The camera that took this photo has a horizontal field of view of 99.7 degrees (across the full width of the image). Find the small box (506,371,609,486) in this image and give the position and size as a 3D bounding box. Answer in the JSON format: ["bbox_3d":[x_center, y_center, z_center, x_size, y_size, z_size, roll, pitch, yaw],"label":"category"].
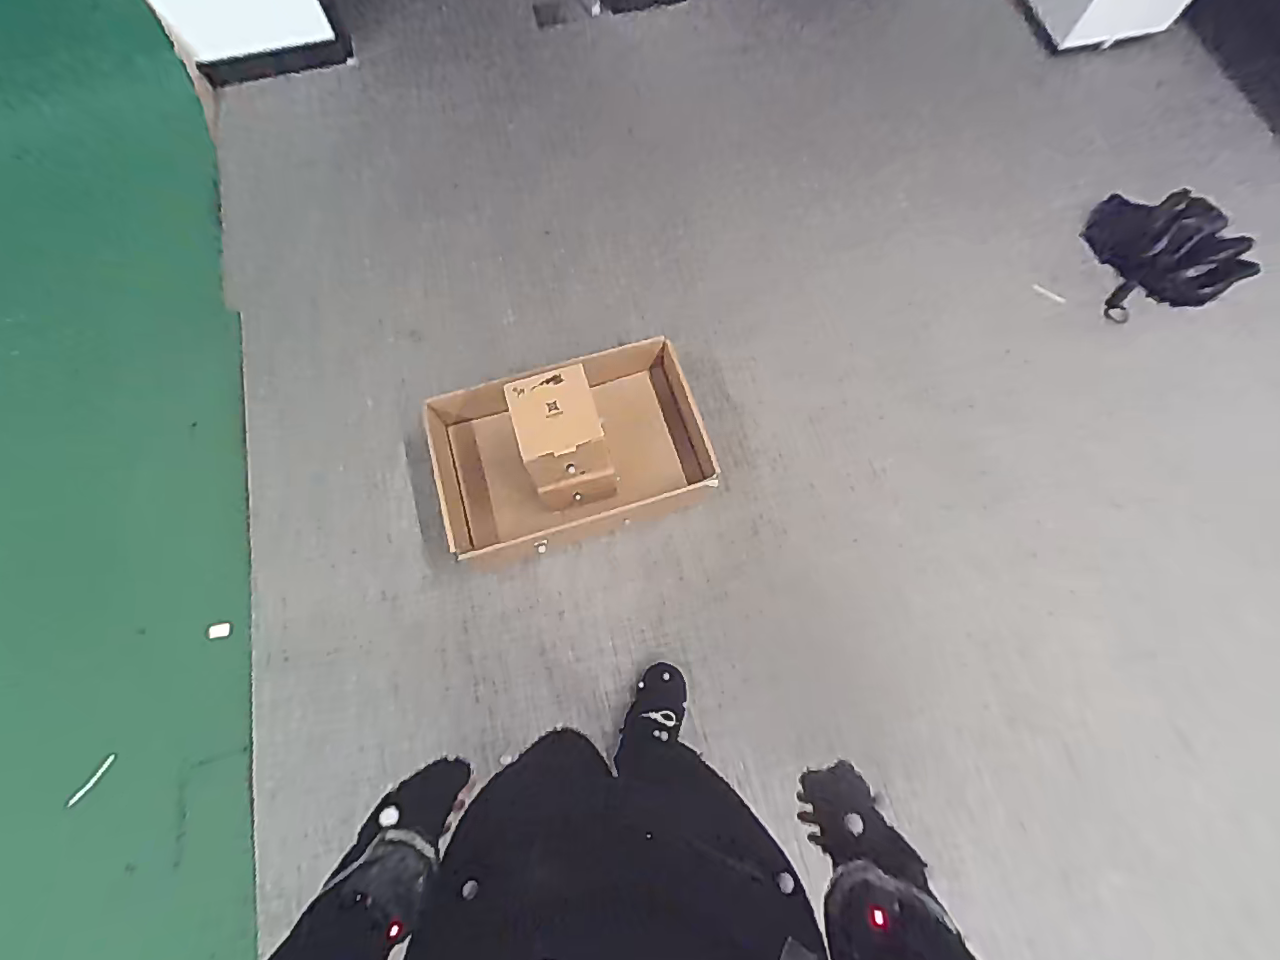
[{"bbox_3d":[-0.167,-0.098,1.140,0.168,0.176,0.179,-16,72,-5],"label":"small box"}]

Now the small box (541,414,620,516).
[{"bbox_3d":[-0.153,-0.031,1.289,0.179,0.176,0.168,-17,72,-6],"label":"small box"}]
